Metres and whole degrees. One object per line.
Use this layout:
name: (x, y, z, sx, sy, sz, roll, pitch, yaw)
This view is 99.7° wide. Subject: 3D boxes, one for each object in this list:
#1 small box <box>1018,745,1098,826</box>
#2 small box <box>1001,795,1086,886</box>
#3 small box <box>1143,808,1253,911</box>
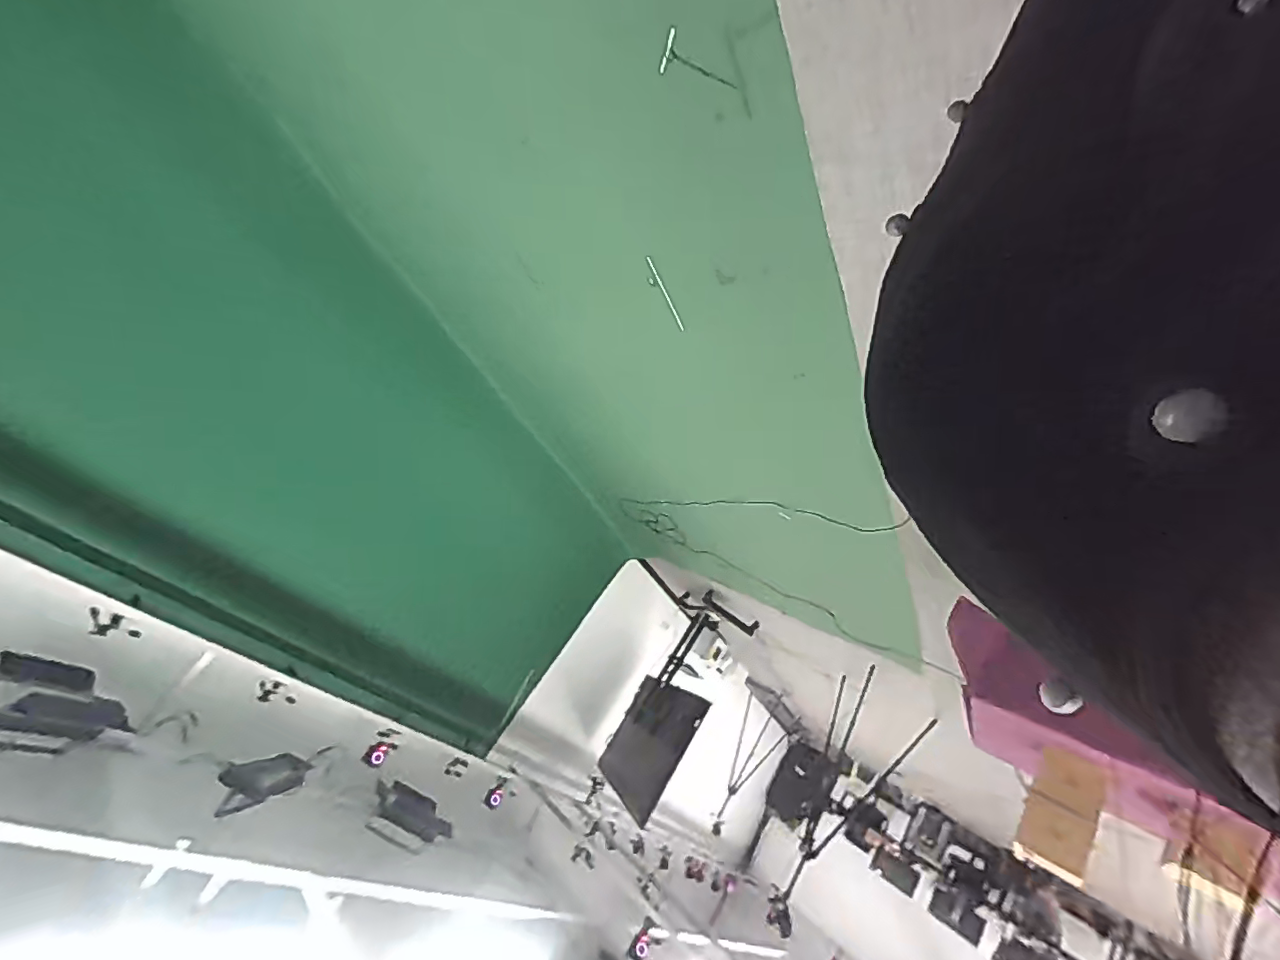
small box: (1.354, 0.999, 1.753, 0.179, 0.176, 0.168, 16, 151, 43)
small box: (1.260, 1.120, 1.695, 0.179, 0.176, 0.168, 17, 153, 43)
small box: (1.591, 1.078, 1.543, 0.179, 0.176, 0.168, 20, 154, 41)
